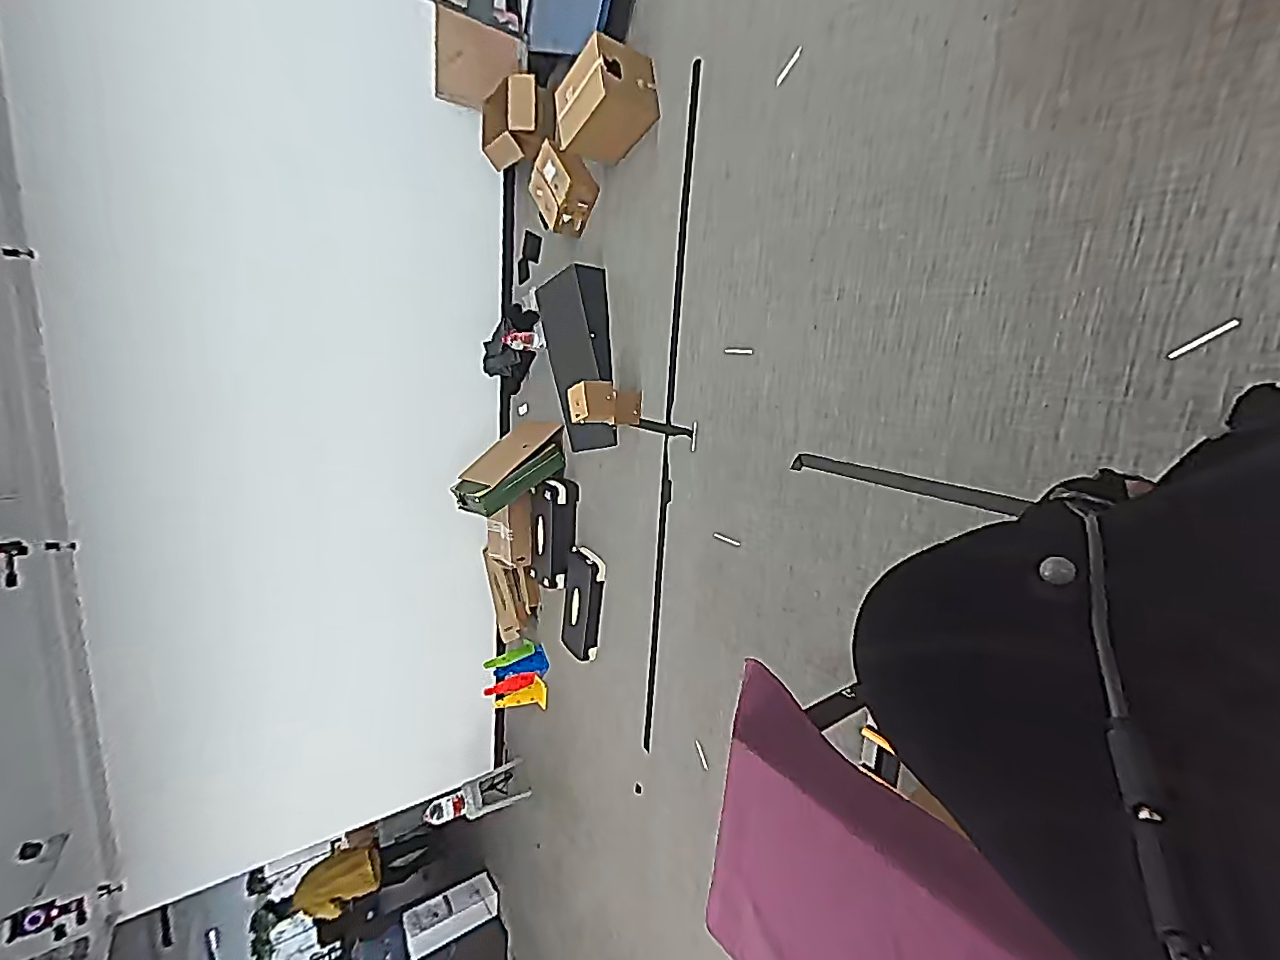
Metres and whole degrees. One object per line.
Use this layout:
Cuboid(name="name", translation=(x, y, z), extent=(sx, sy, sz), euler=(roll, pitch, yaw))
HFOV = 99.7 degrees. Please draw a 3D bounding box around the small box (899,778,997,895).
Cuboid(name="small box", translation=(0.840, 0.958, 1.473), extent=(0.168, 0.176, 0.179), euler=(21, 111, 51))
